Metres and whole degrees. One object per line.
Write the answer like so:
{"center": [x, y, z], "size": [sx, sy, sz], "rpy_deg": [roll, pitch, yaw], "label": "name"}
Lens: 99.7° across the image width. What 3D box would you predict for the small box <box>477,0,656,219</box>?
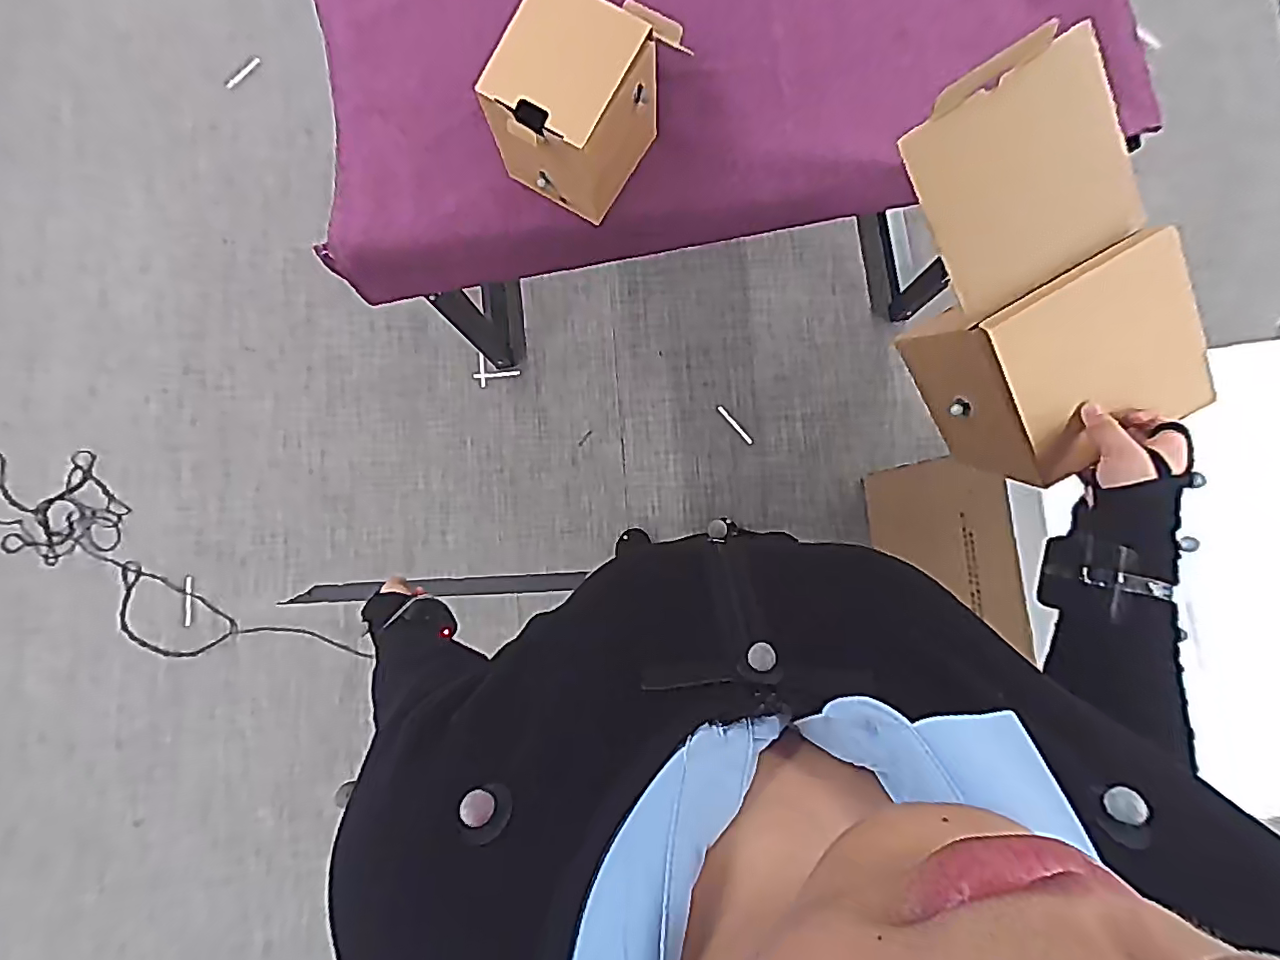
{"center": [-0.092, -0.515, 0.758], "size": [0.168, 0.176, 0.179], "rpy_deg": [32, 86, 6], "label": "small box"}
